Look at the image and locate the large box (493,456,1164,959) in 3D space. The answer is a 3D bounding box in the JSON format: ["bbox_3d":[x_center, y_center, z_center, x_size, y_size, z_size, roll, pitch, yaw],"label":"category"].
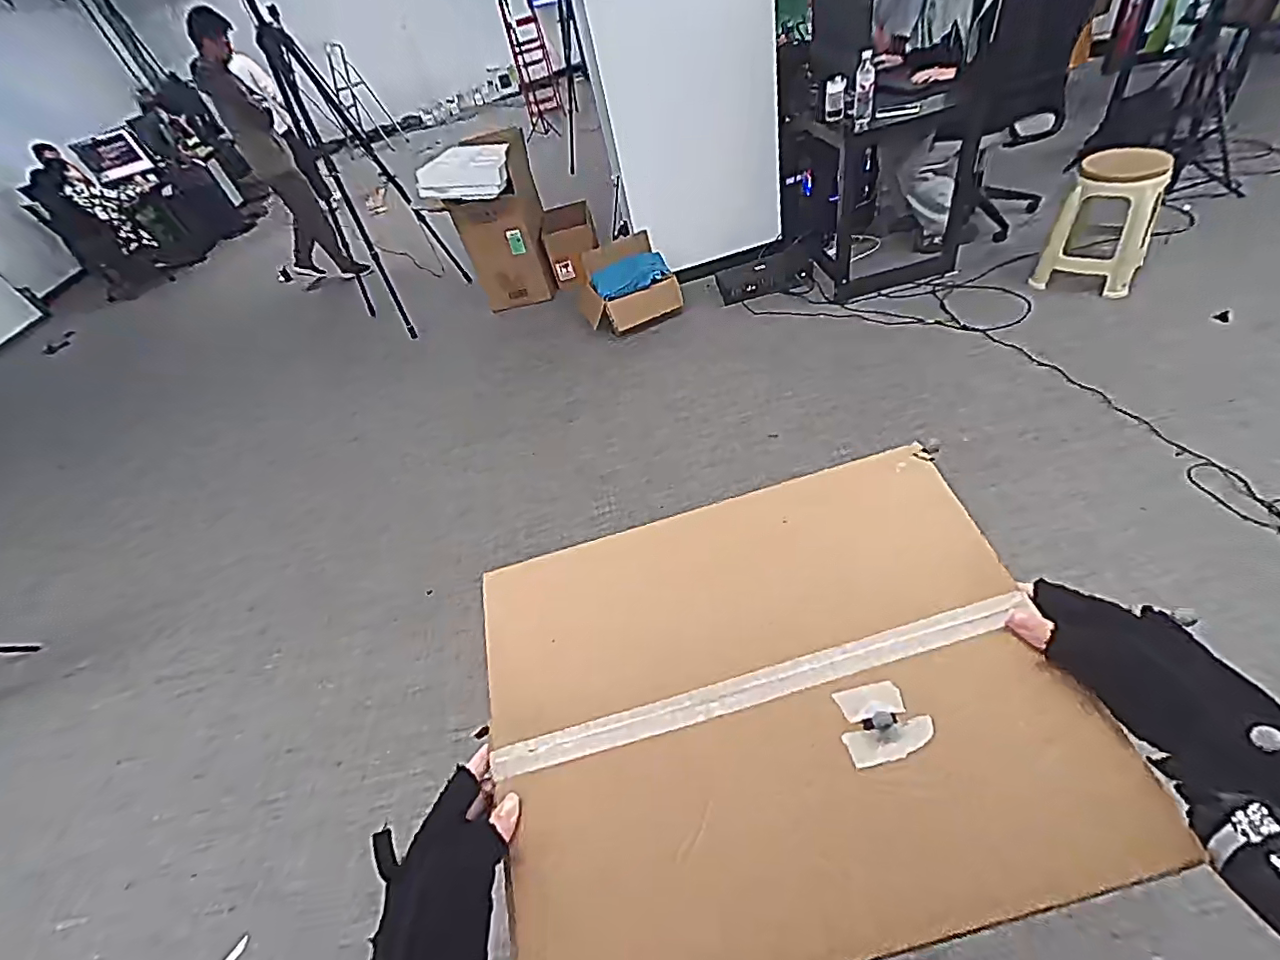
[{"bbox_3d":[0.116,0.238,0.529,0.408,0.320,0.320,-17,56,0],"label":"large box"}]
